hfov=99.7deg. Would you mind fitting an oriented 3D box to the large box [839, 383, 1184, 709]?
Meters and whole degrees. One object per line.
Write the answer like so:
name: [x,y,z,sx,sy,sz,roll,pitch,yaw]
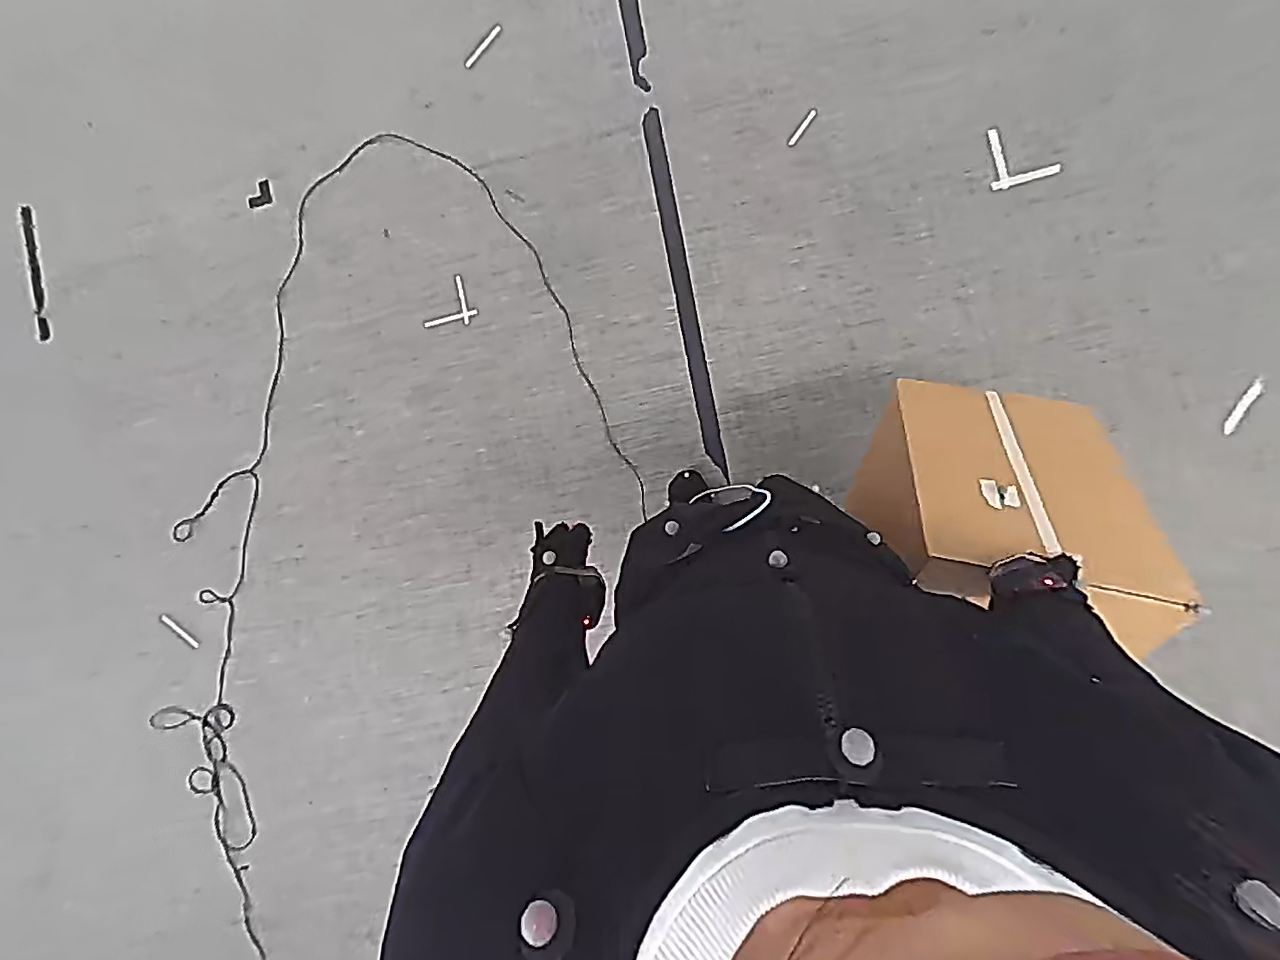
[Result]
large box: [0.537,0.097,0.901,0.320,0.320,0.408,10,47,9]
